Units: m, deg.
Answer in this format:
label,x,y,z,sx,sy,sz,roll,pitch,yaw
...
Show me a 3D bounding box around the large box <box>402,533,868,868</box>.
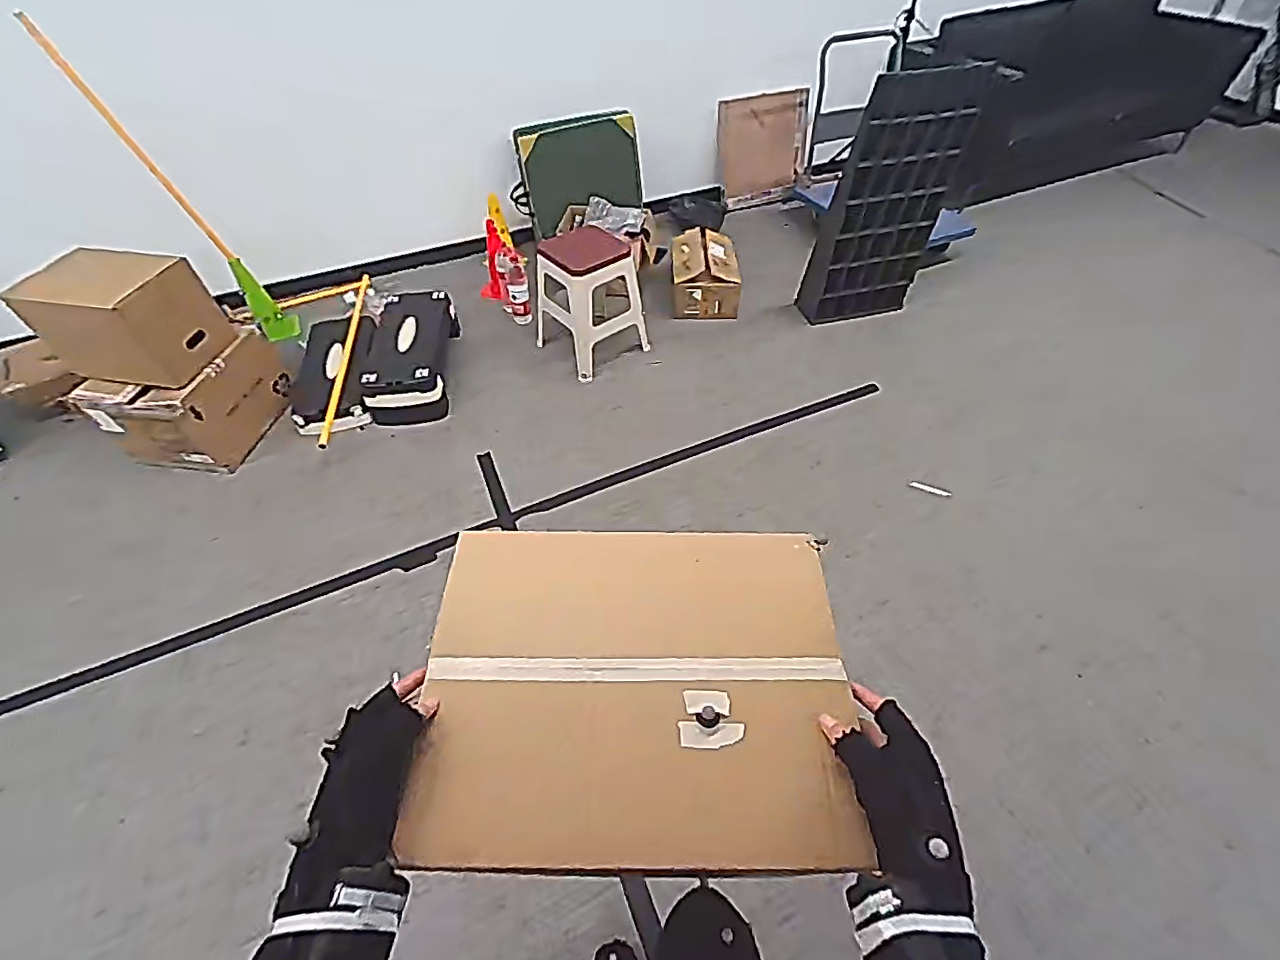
label,x,y,z,sx,sy,sz,roll,pitch,yaw
large box,-0.006,0.276,0.660,0.408,0.320,0.320,1,53,0
